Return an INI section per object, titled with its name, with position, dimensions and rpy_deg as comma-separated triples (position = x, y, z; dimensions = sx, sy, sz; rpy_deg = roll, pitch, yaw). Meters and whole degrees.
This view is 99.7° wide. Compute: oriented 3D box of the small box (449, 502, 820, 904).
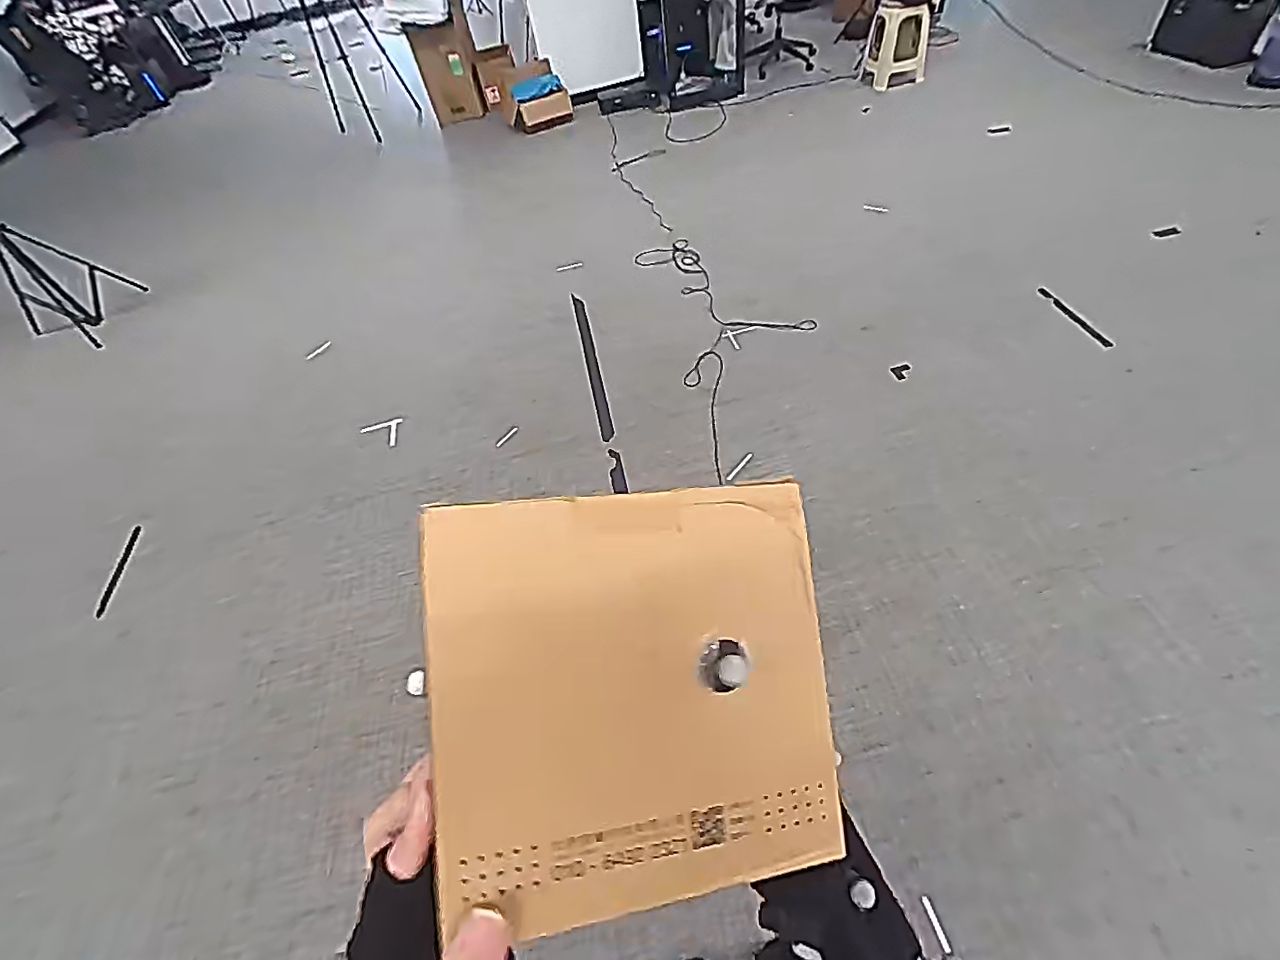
[small box]
position = -0.014, 0.109, 0.320
dimensions = 0.168, 0.179, 0.176
rpy_deg = -3, 84, -14
